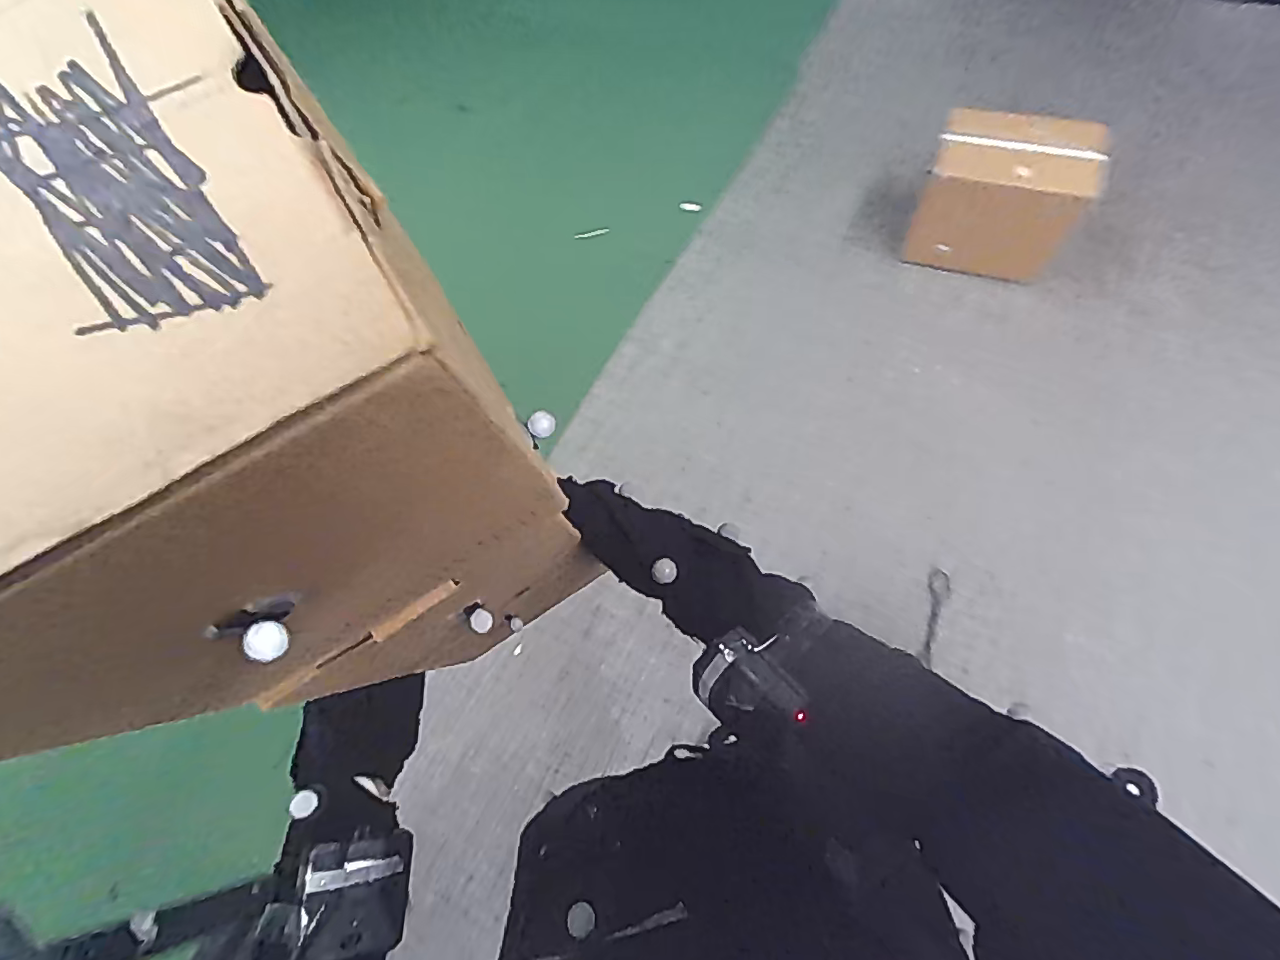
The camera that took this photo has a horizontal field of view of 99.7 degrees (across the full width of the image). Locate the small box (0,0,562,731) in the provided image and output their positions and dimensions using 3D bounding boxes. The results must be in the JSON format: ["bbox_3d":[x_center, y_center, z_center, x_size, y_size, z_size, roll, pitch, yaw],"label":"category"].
[{"bbox_3d":[-0.142,-0.036,0.196,0.179,0.176,0.168,-30,77,-4],"label":"small box"}]
